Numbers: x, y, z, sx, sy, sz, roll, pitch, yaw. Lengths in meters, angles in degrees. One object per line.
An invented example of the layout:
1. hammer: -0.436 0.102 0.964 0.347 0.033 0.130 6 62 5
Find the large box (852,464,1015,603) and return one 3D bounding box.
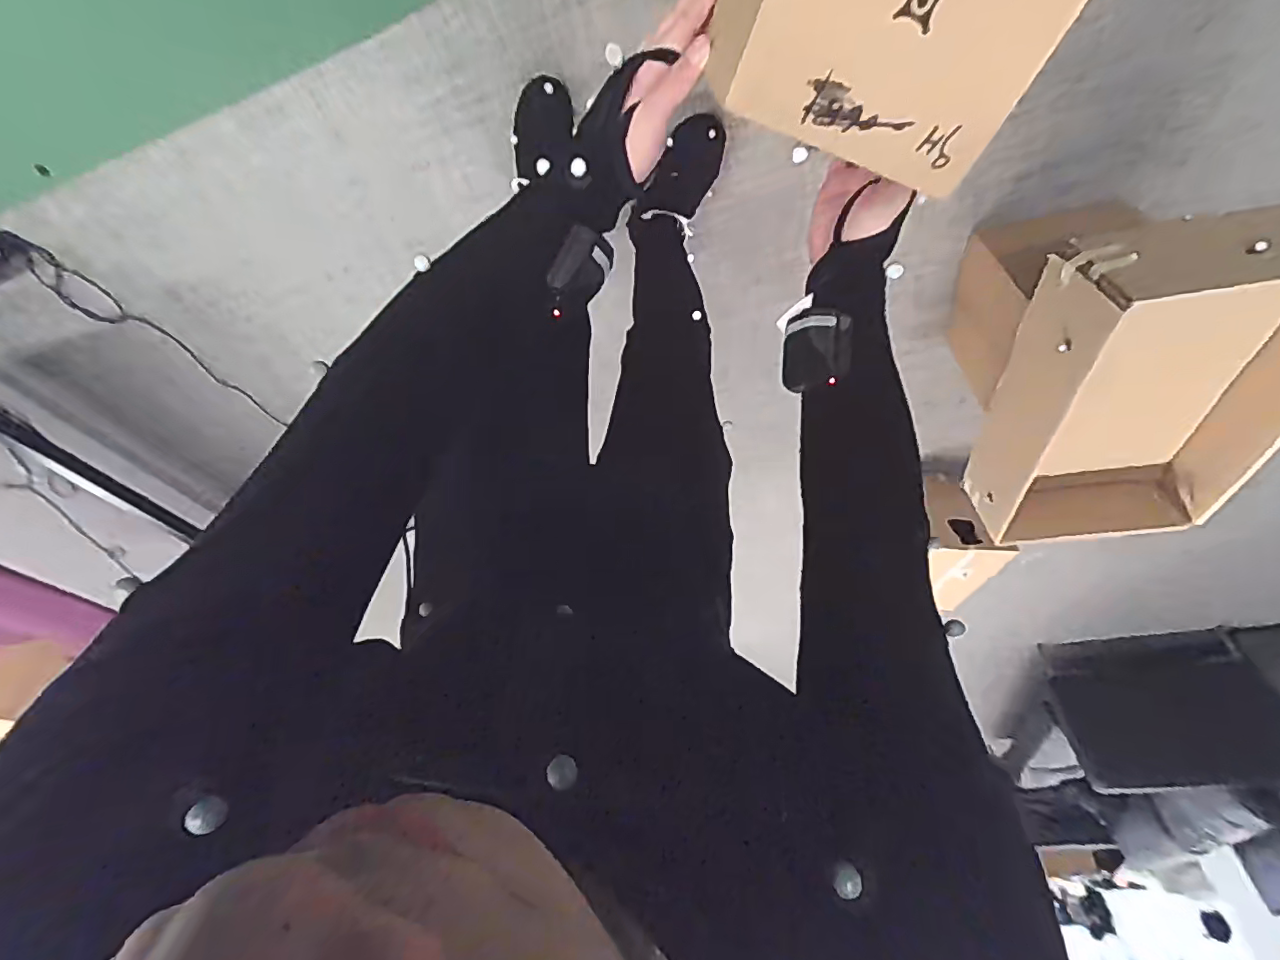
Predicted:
1. large box: 0.996 0.196 1.901 0.320 0.320 0.408 3 140 -4

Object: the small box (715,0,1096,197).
1. small box: 0.158 -0.319 0.339 0.168 0.176 0.179 13 133 -14
